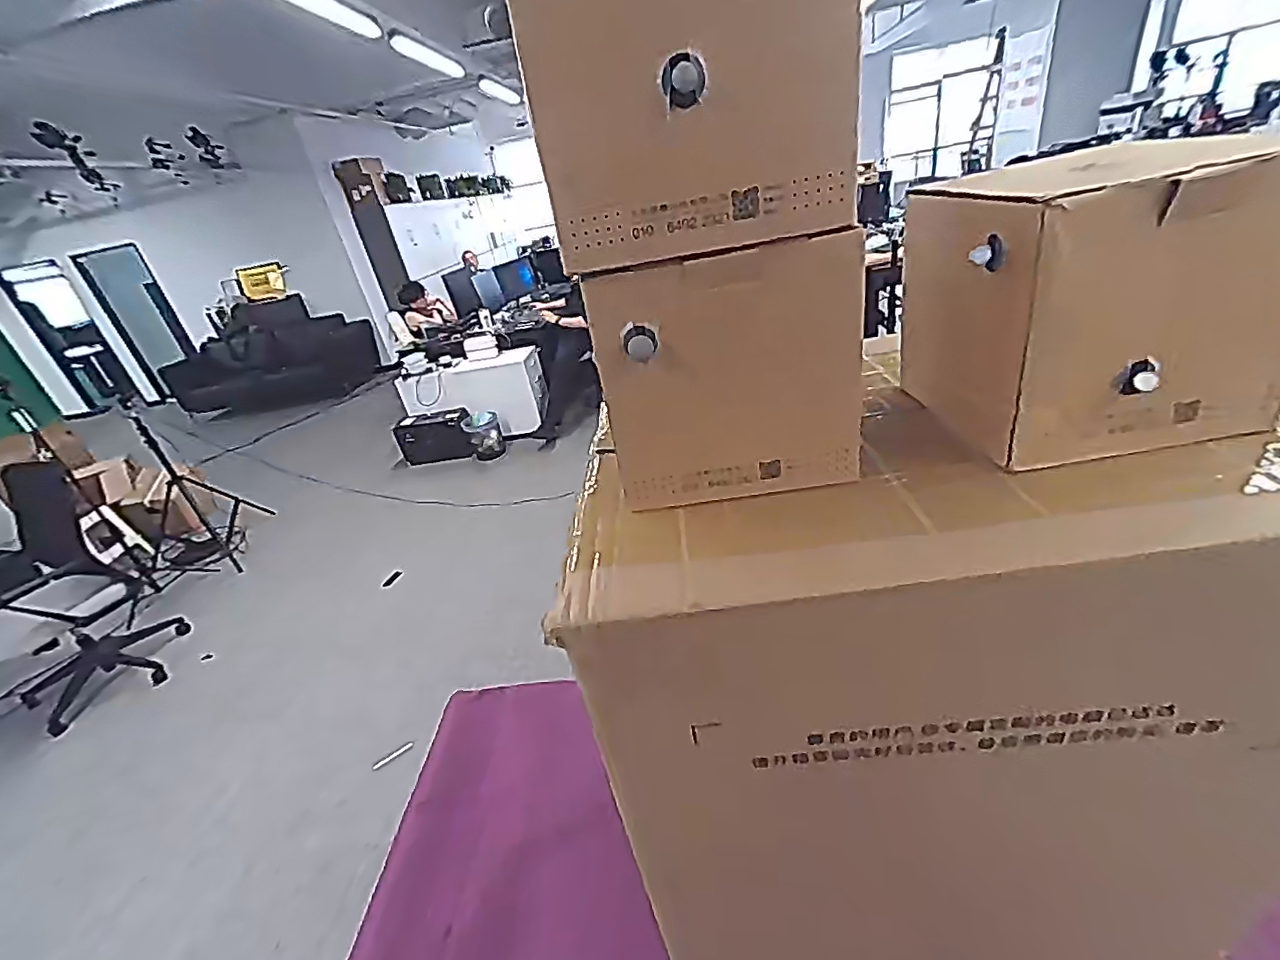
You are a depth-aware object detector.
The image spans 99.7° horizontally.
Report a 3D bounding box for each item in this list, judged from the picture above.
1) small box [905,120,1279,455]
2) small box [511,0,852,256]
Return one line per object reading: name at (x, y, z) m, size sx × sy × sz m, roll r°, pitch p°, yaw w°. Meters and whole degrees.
small box at (0.305, -0.136, 0.384) m, size 0.168 × 0.176 × 0.179 m, roll -10°, pitch 29°, yaw 5°
small box at (0.024, -0.244, 0.335) m, size 0.168 × 0.176 × 0.179 m, roll -9°, pitch 28°, yaw 2°
